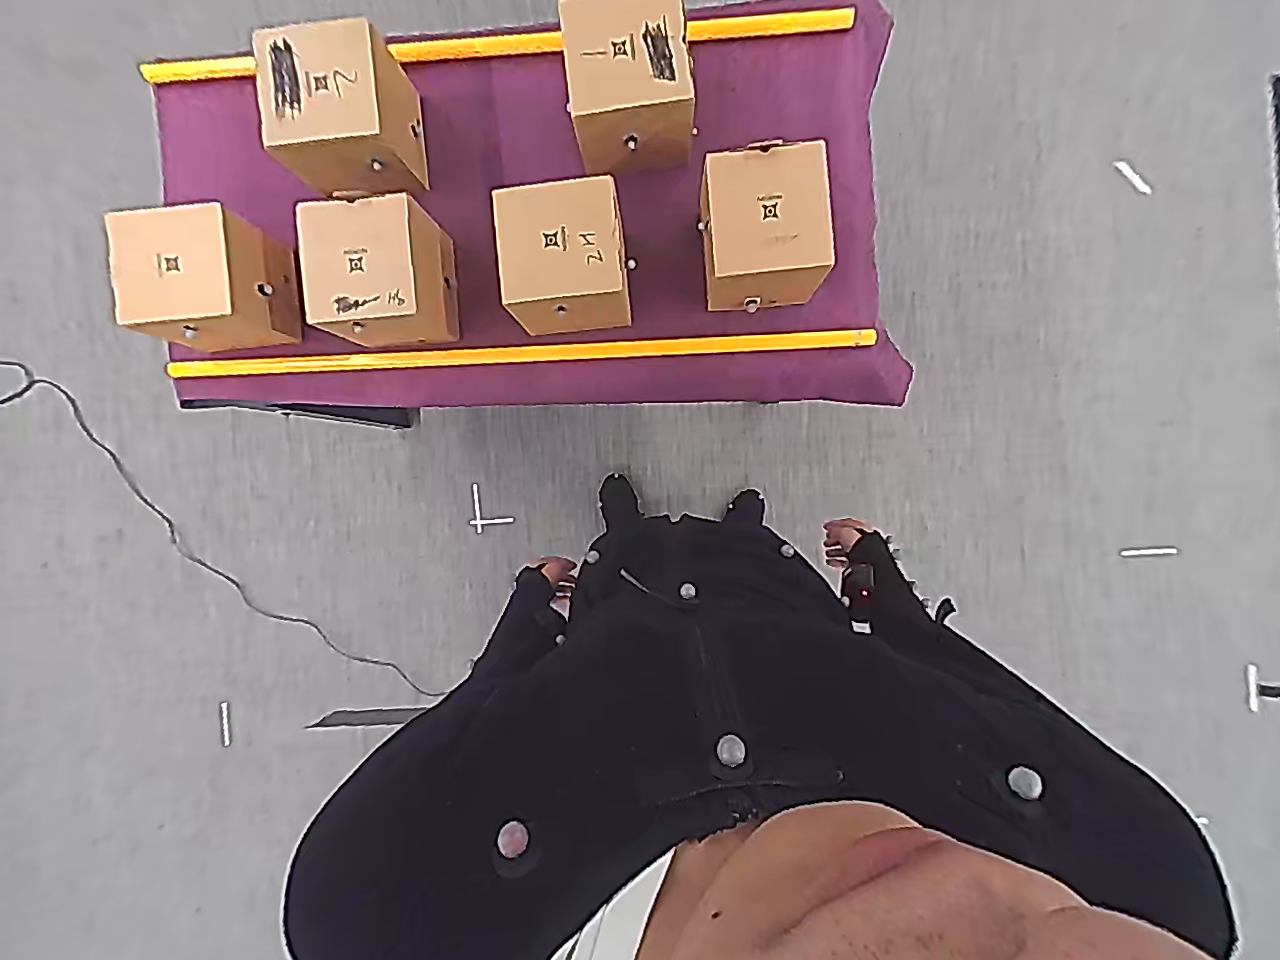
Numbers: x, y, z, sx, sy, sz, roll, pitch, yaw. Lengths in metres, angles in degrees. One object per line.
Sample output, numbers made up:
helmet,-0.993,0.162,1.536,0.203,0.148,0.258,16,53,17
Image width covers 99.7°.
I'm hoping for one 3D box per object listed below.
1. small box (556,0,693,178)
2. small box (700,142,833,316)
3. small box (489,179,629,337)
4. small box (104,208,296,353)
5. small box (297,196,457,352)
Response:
small box,-0.018,-0.593,0.824,0.179,0.176,0.168,-6,92,4
small box,0.180,-0.366,0.816,0.168,0.176,0.179,-5,89,5
small box,-0.115,-0.328,0.833,0.179,0.176,0.168,-5,89,3
small box,-0.682,-0.307,0.863,0.179,0.176,0.168,-5,90,2
small box,-0.401,-0.311,0.848,0.168,0.176,0.179,-4,90,4
